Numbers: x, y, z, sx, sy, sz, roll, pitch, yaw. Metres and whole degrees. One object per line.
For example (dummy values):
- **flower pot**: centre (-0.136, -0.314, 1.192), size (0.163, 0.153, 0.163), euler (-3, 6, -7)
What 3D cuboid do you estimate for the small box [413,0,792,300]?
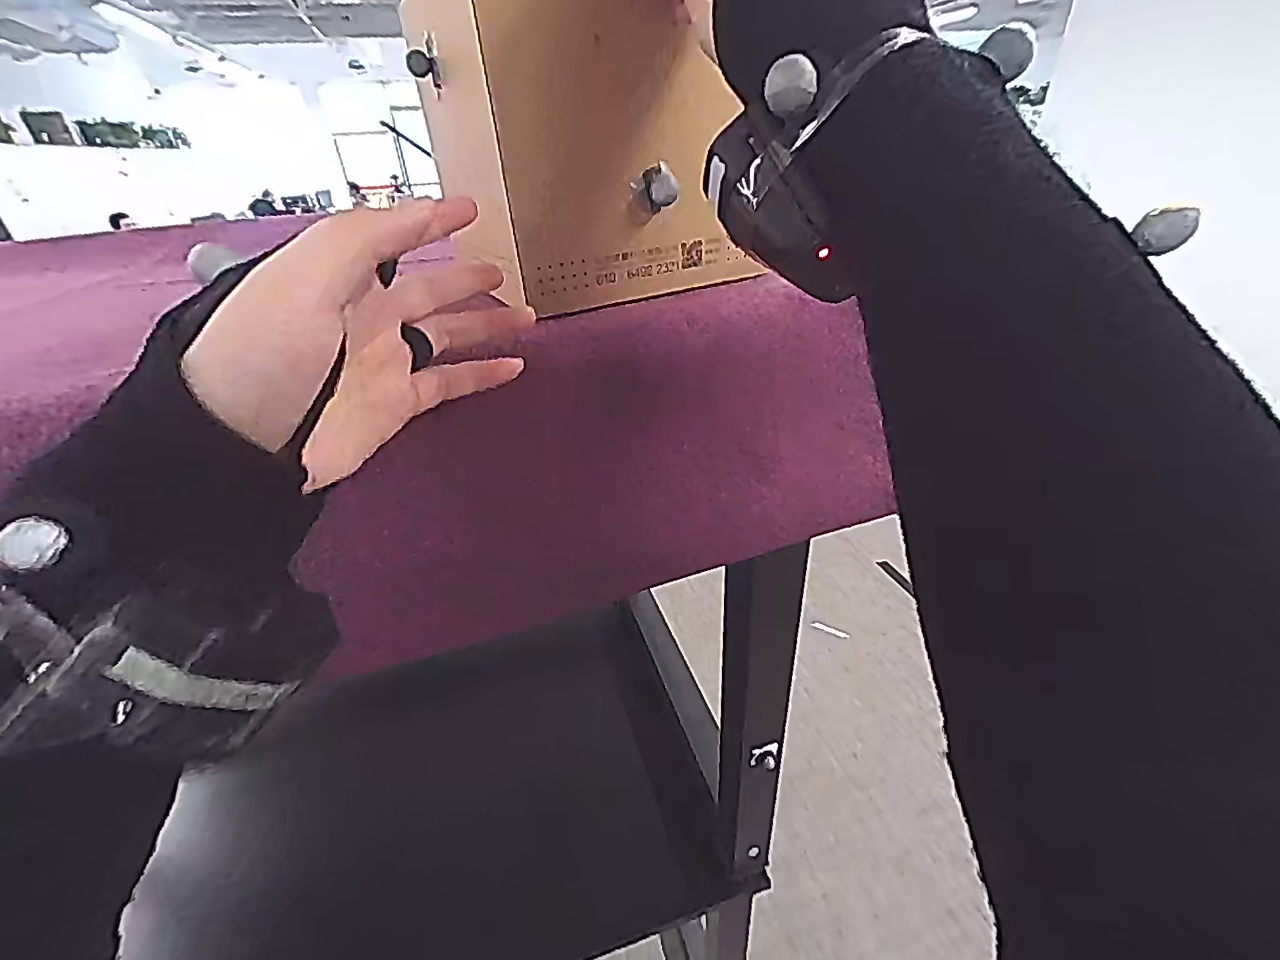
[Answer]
- **small box**: centre (-0.029, -0.217, 0.341), size (0.168, 0.176, 0.179), euler (-19, 33, -22)
